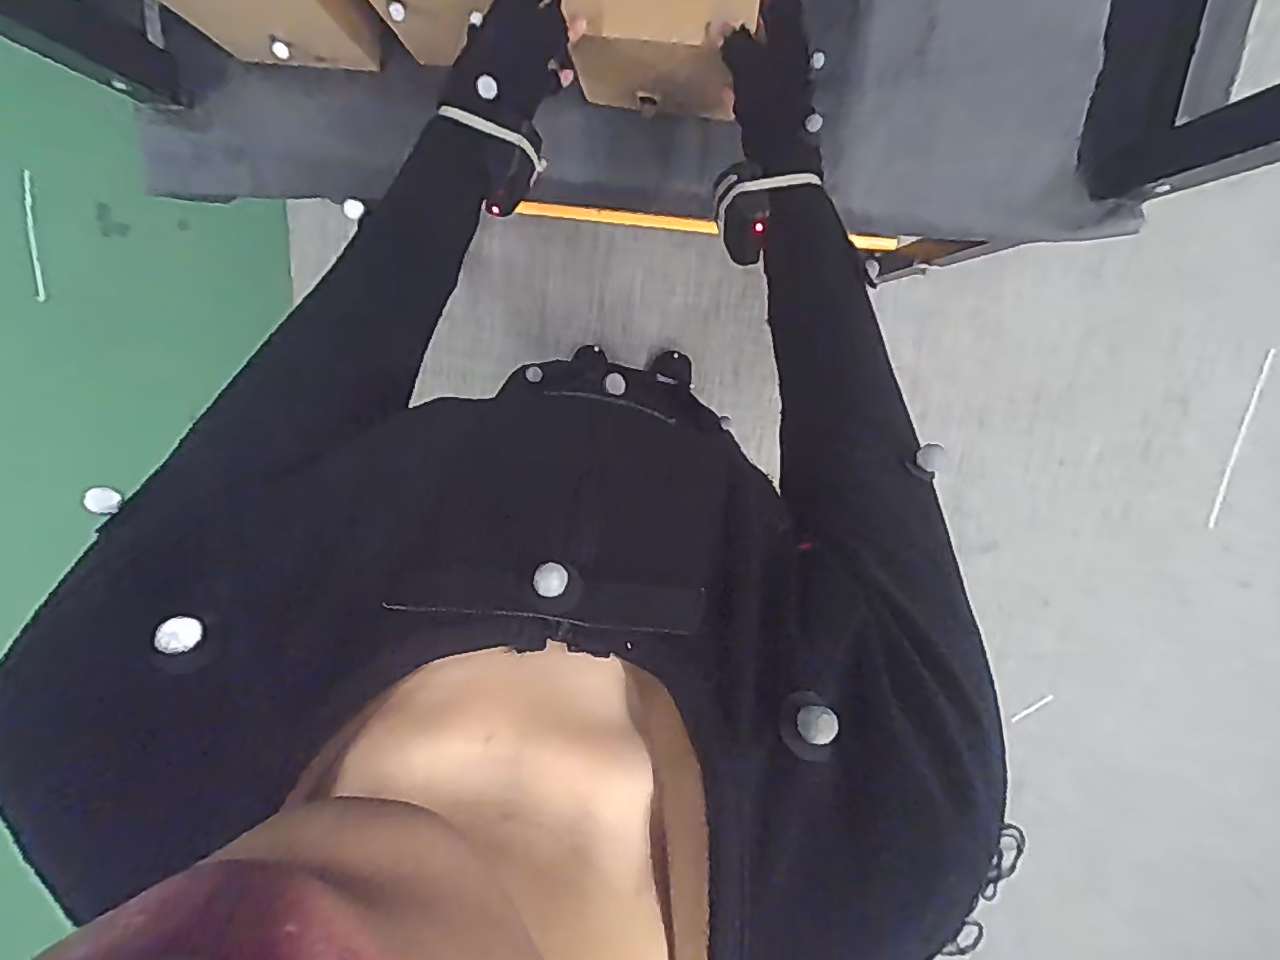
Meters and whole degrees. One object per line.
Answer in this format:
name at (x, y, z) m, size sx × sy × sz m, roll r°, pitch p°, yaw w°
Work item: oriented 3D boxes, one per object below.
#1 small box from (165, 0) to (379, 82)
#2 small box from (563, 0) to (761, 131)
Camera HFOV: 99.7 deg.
small box at (-0.379, -0.540, 0.537) m, size 0.168 × 0.176 × 0.179 m, roll 4°, pitch 103°, yaw 0°
small box at (0.028, -0.466, 0.514) m, size 0.168 × 0.176 × 0.179 m, roll 7°, pitch 106°, yaw 2°
